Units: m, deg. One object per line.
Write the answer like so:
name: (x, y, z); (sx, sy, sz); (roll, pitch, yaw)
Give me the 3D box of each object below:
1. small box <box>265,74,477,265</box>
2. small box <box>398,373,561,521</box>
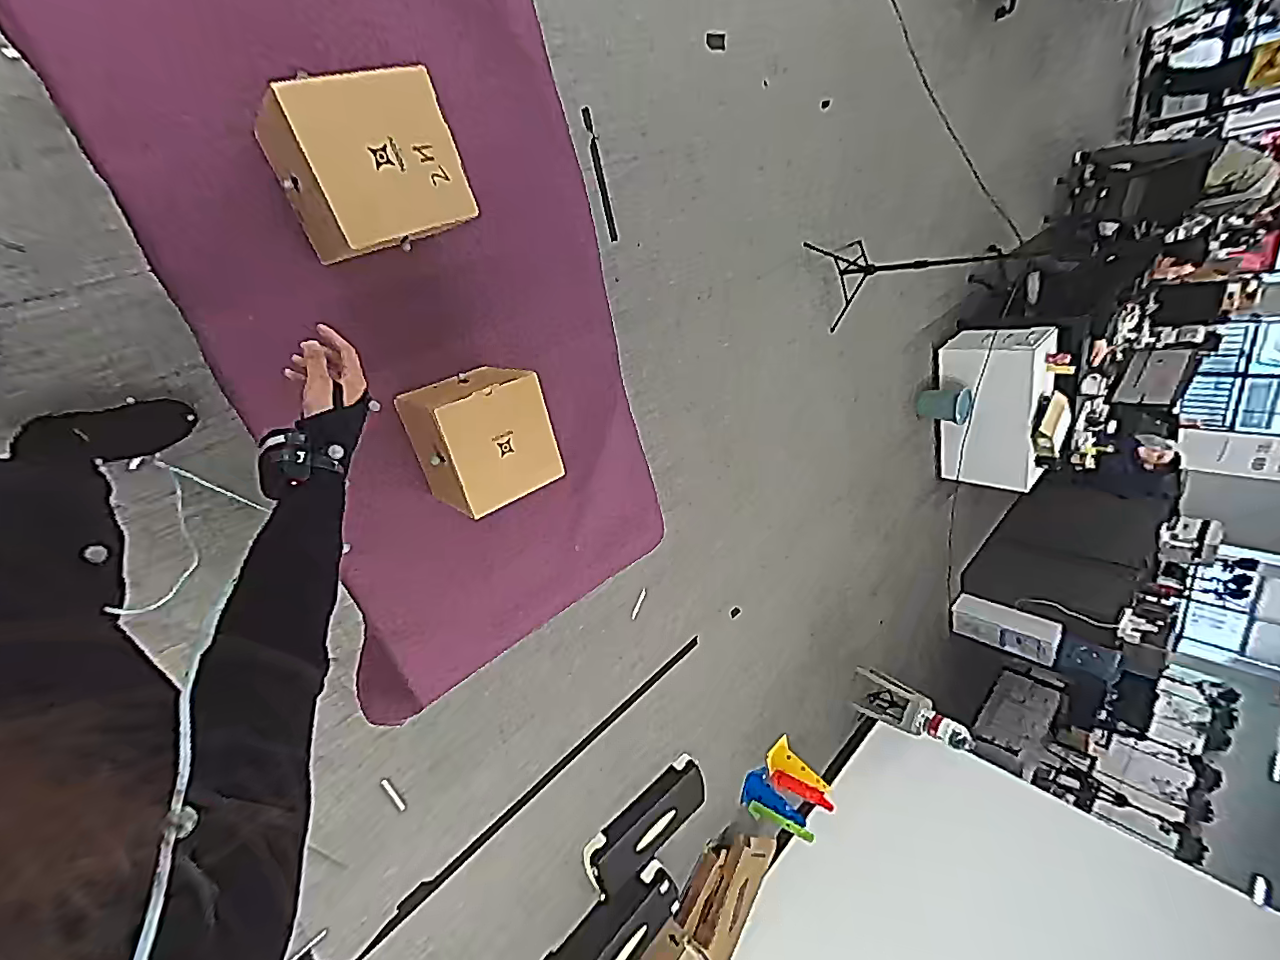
small box: (-0.346, -0.385, 0.691); (0.179, 0.176, 0.168); (-34, 122, -30)
small box: (-0.254, -0.062, 0.858); (0.168, 0.176, 0.179); (-29, 118, -32)
